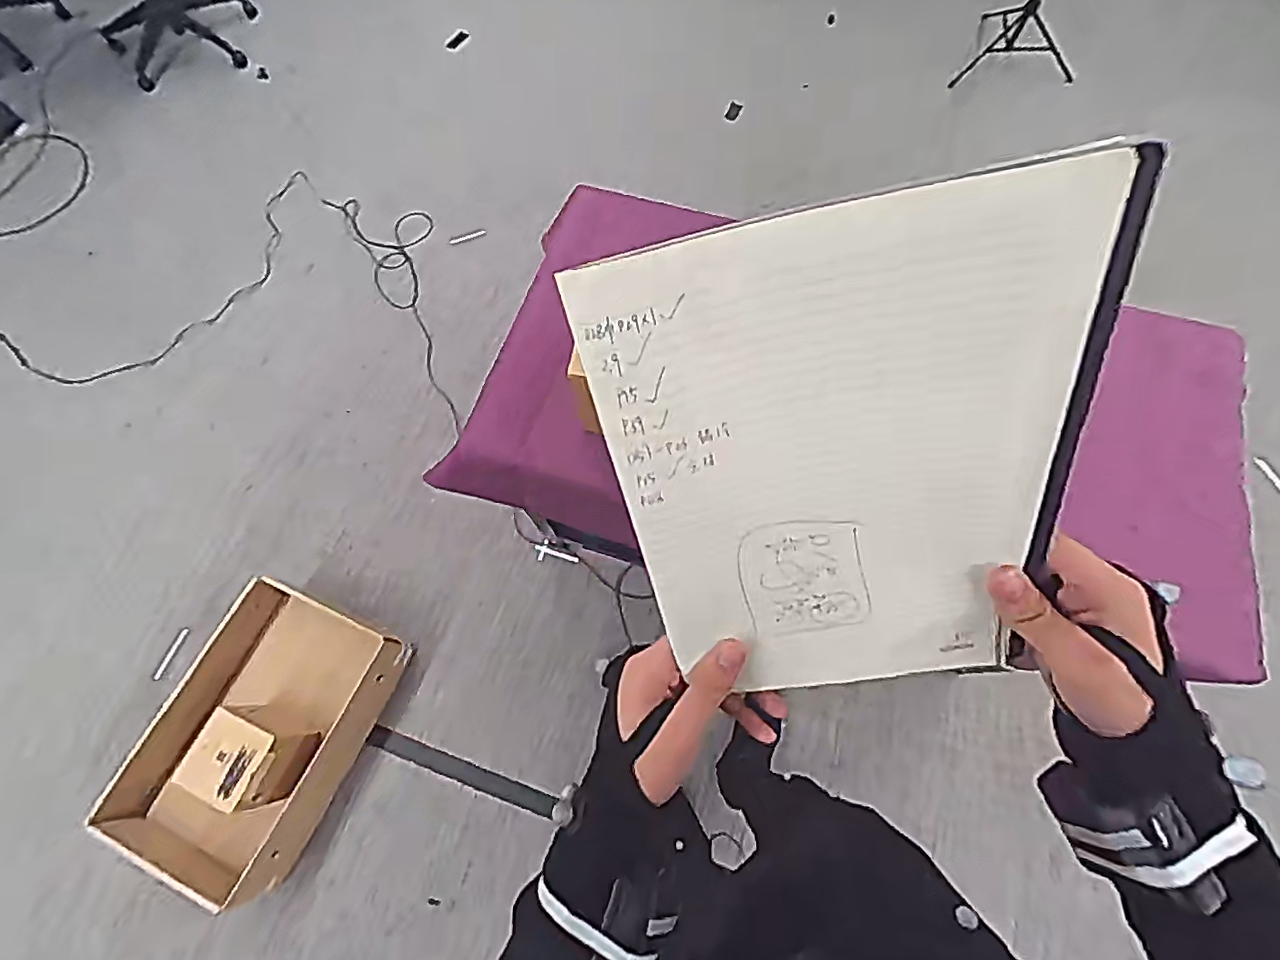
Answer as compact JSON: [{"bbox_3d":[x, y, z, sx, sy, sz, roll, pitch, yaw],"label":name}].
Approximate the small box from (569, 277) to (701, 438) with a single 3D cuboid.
[{"bbox_3d":[-0.002,-0.183,0.848,0.168,0.176,0.179,9,69,4],"label":"small box"}]
